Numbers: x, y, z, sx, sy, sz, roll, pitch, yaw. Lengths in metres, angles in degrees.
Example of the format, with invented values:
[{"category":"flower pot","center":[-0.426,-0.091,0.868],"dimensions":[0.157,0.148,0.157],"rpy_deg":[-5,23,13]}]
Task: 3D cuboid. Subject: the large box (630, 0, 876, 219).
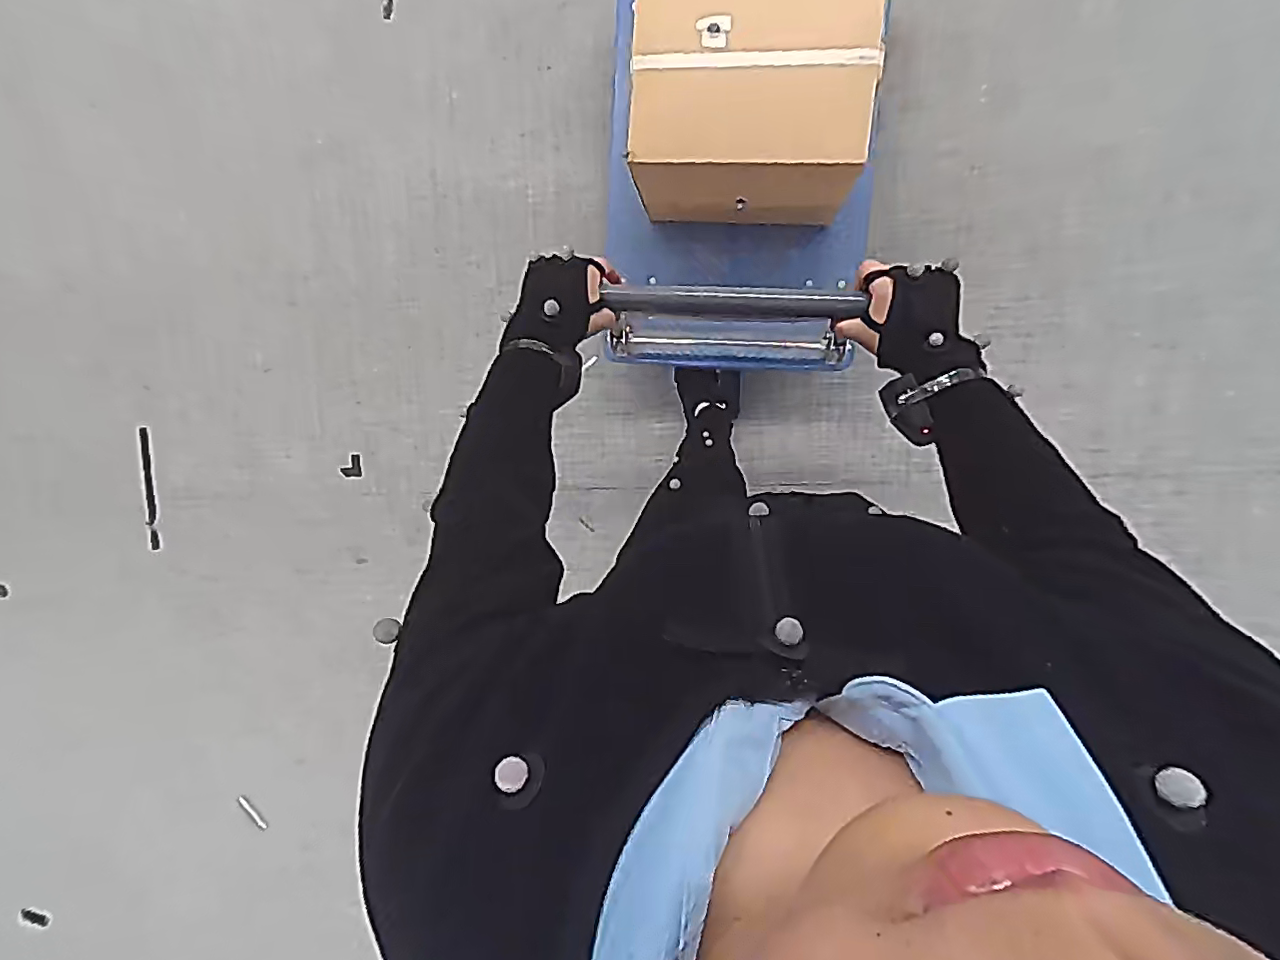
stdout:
[{"category":"large box","center":[0.210,-0.722,1.063],"dimensions":[0.408,0.320,0.320],"rpy_deg":[5,97,9]}]
